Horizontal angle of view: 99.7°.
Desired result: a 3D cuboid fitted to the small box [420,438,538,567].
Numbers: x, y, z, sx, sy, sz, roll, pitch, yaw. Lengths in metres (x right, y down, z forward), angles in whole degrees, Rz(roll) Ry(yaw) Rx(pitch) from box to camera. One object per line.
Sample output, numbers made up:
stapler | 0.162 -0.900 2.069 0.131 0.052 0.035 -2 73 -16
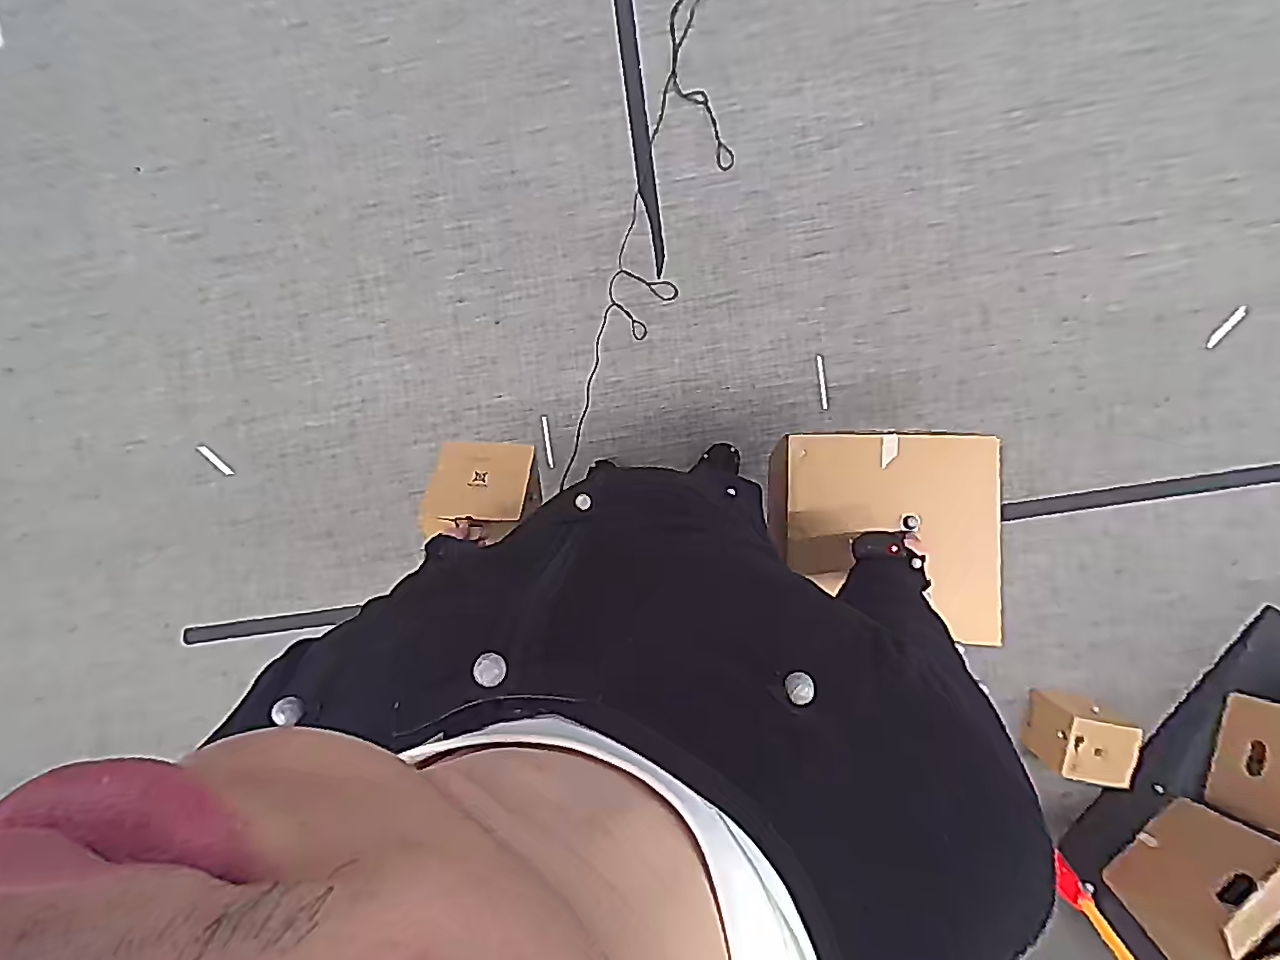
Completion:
small box | -0.282 0.046 0.996 0.168 0.176 0.179 4 51 -3
